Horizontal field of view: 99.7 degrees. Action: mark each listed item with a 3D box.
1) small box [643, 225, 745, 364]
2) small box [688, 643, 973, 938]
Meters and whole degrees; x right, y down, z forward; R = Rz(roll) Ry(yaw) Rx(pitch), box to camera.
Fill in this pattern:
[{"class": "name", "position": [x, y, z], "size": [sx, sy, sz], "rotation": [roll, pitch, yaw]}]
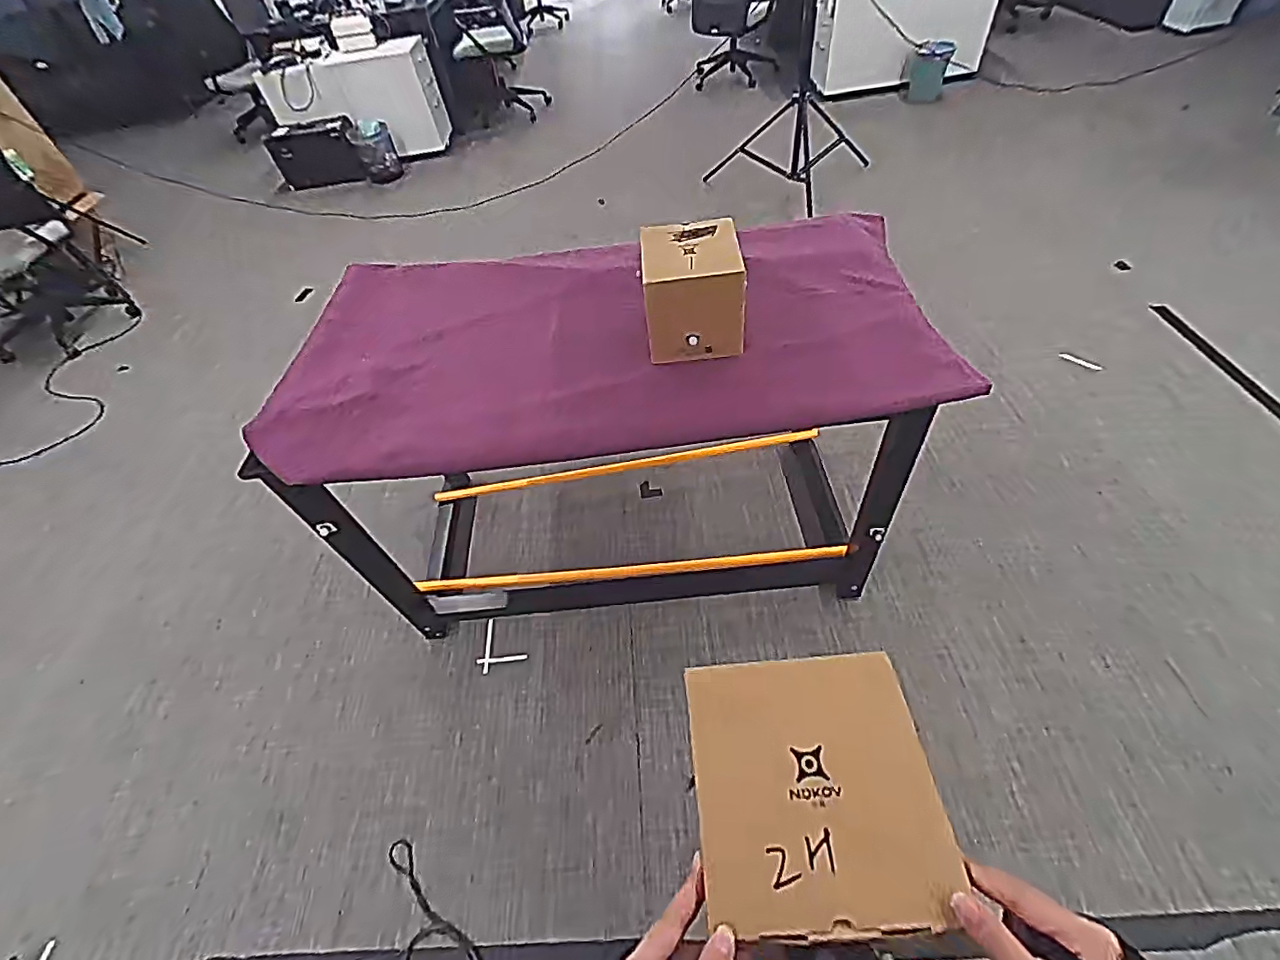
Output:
[{"class": "small box", "position": [0.094, -0.333, 0.978], "size": [0.168, 0.176, 0.179], "rotation": [-5, 51, 5]}, {"class": "small box", "position": [0.130, 0.258, 0.448], "size": [0.168, 0.176, 0.179], "rotation": [-6, 47, 5]}]
